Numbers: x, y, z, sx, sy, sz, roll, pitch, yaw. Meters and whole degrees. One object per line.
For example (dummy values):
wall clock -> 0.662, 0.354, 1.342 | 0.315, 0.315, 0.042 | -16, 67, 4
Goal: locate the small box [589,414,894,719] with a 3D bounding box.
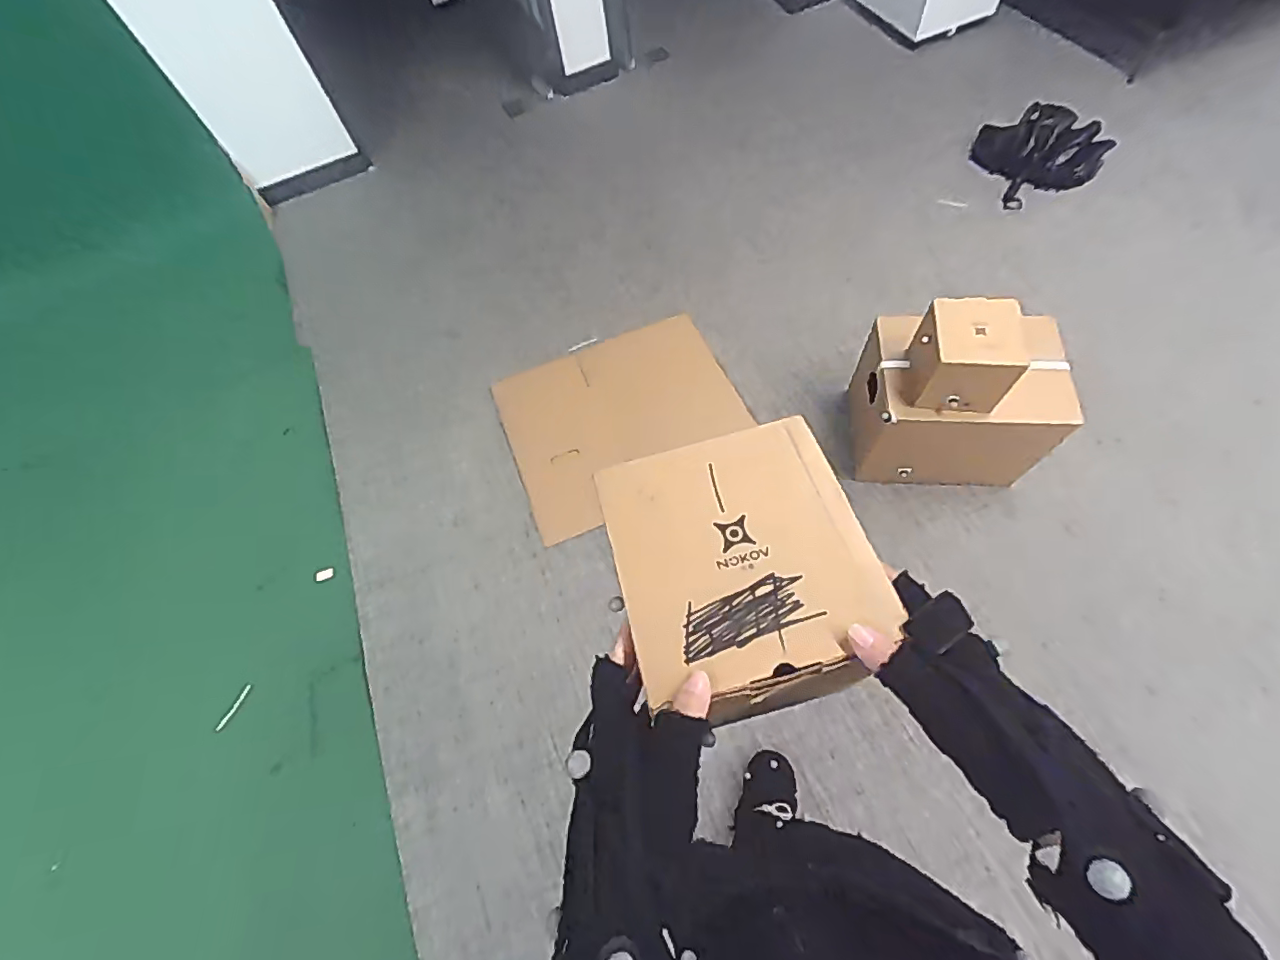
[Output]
small box -> 0.068, 0.081, 0.436 | 0.168, 0.176, 0.179 | -15, 58, -2

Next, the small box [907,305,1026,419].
small box -> 0.694, -0.254, 1.174 | 0.168, 0.176, 0.179 | 4, 65, 10
